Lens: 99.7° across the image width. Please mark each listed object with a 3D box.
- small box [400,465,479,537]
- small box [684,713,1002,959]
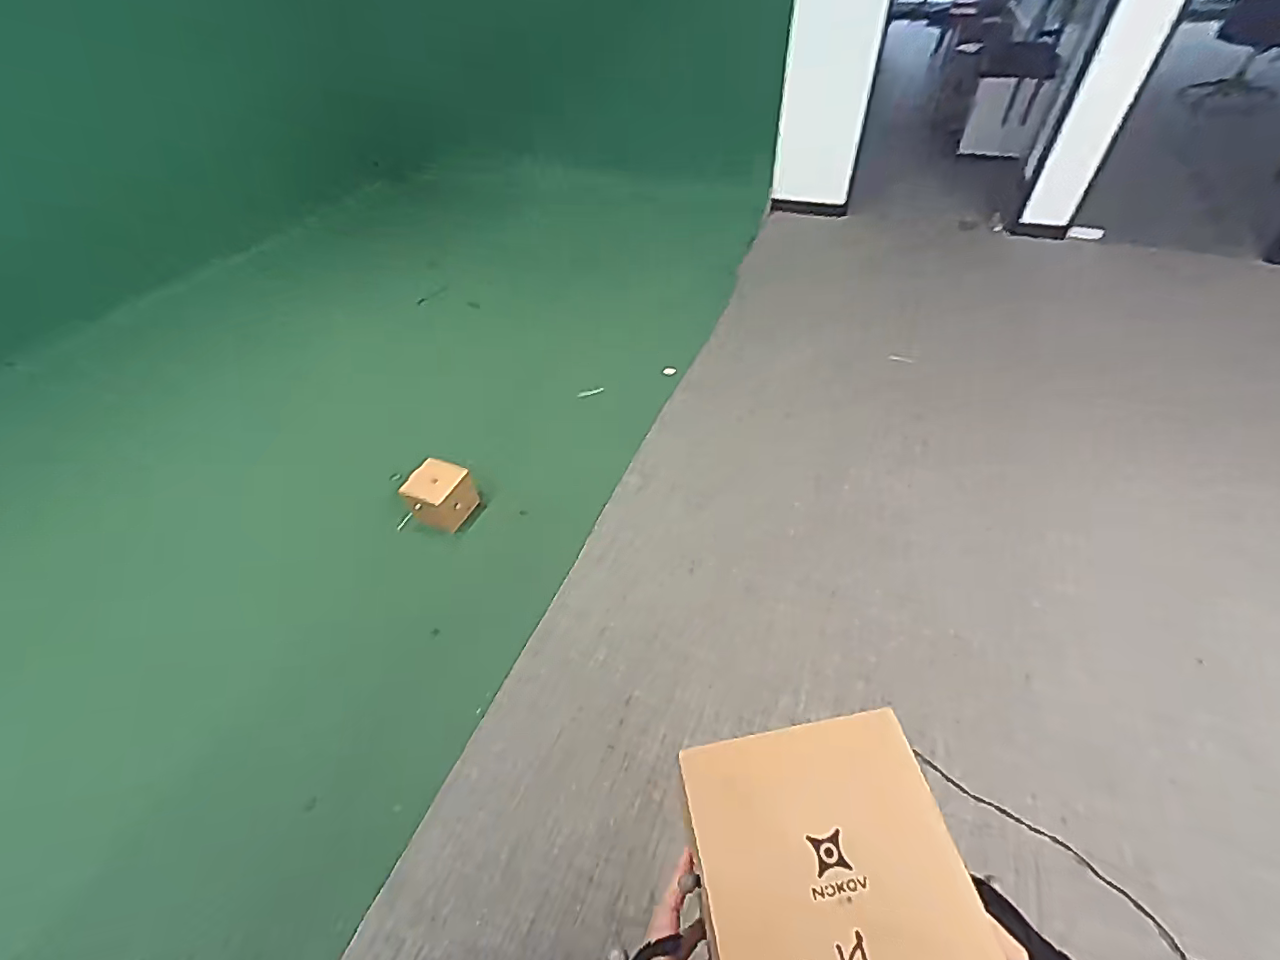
[{"bbox_3d":[-0.698,0.077,1.906,0.179,0.176,0.168,15,51,19],"label":"small box"},{"bbox_3d":[0.128,0.302,0.410,0.168,0.176,0.179,-9,51,-3],"label":"small box"}]
